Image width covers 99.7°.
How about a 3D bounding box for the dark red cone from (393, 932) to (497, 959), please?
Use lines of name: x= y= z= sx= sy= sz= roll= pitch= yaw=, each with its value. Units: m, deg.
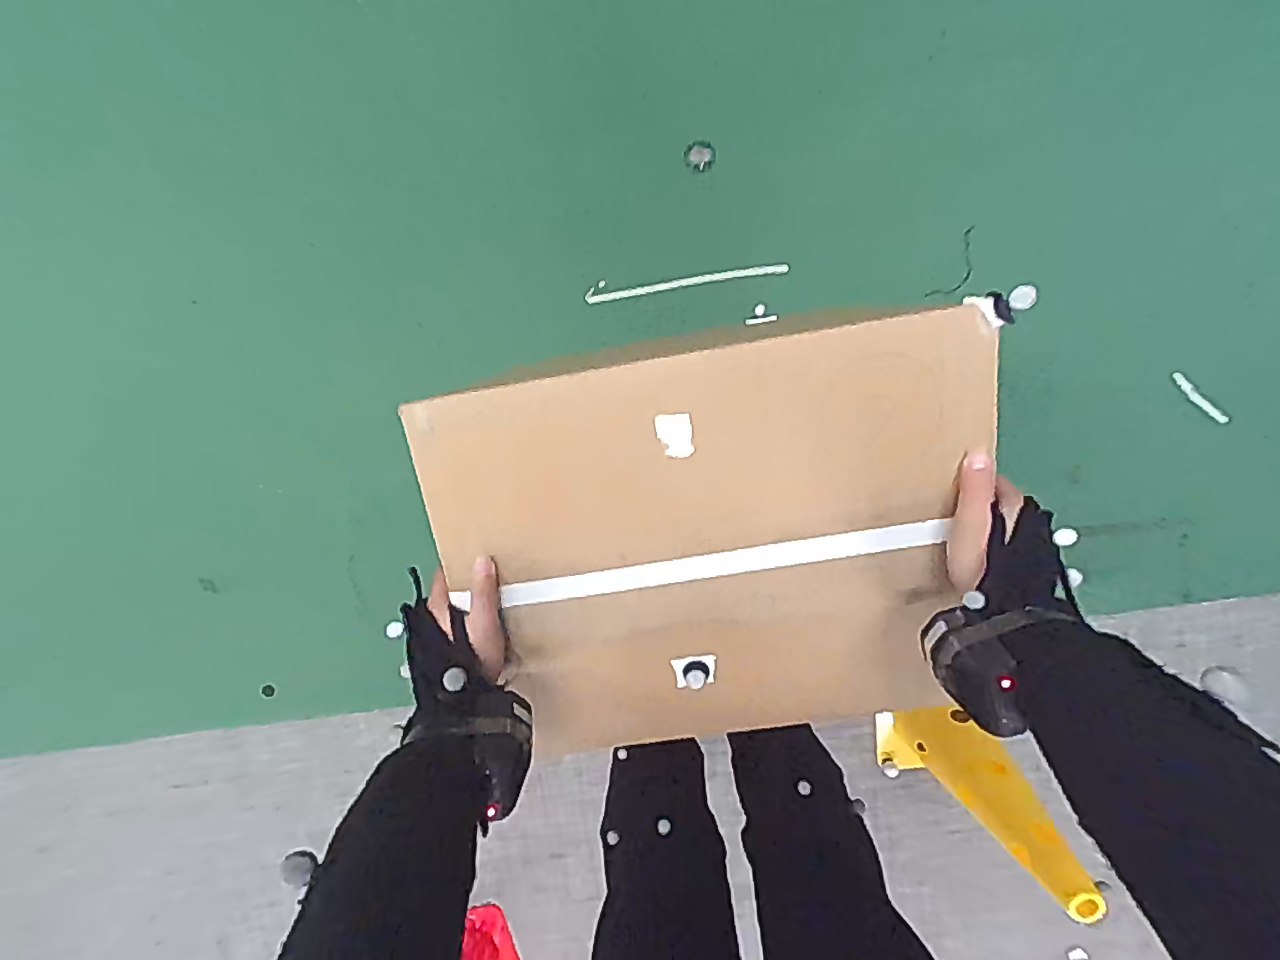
dark red cone: x=-0.364 y=0.976 z=0.868 sx=0.202 sy=0.394 sz=0.201 roll=-16 pitch=95 yaw=6
